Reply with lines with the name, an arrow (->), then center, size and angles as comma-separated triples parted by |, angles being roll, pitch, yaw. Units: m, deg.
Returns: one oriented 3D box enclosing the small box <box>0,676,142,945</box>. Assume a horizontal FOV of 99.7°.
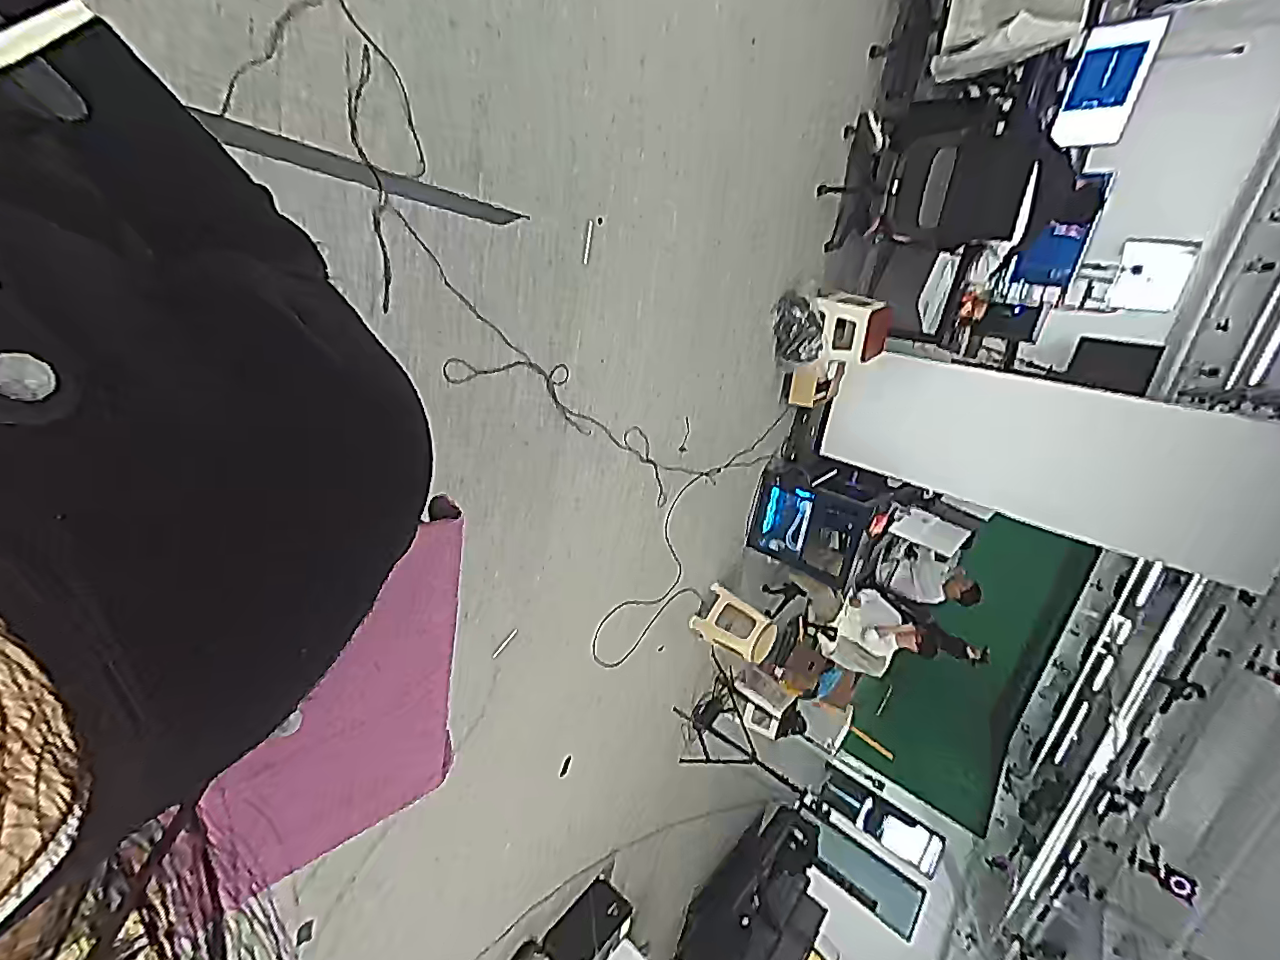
small box -> -0.651, 0.345, 0.567 | 0.168, 0.176, 0.179 | -9, 117, -51
